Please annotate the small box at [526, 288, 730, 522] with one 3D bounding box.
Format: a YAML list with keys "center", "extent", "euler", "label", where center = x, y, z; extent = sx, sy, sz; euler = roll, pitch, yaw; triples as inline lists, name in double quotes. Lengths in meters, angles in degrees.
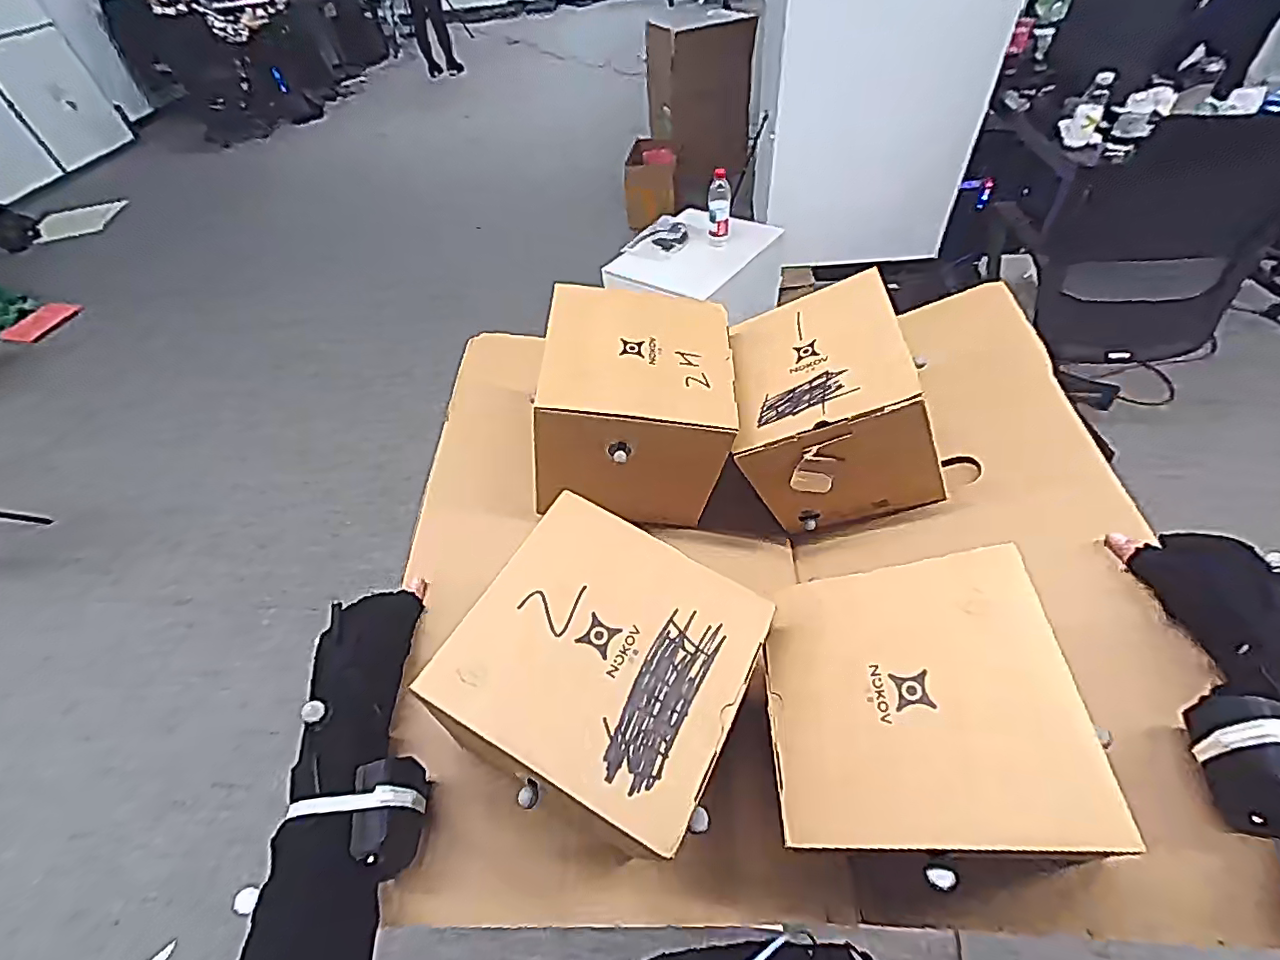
- center: [-0.016, -0.070, 0.562]
  extent: [0.179, 0.176, 0.168]
  euler: [6, 56, -6]
  label: "small box"
